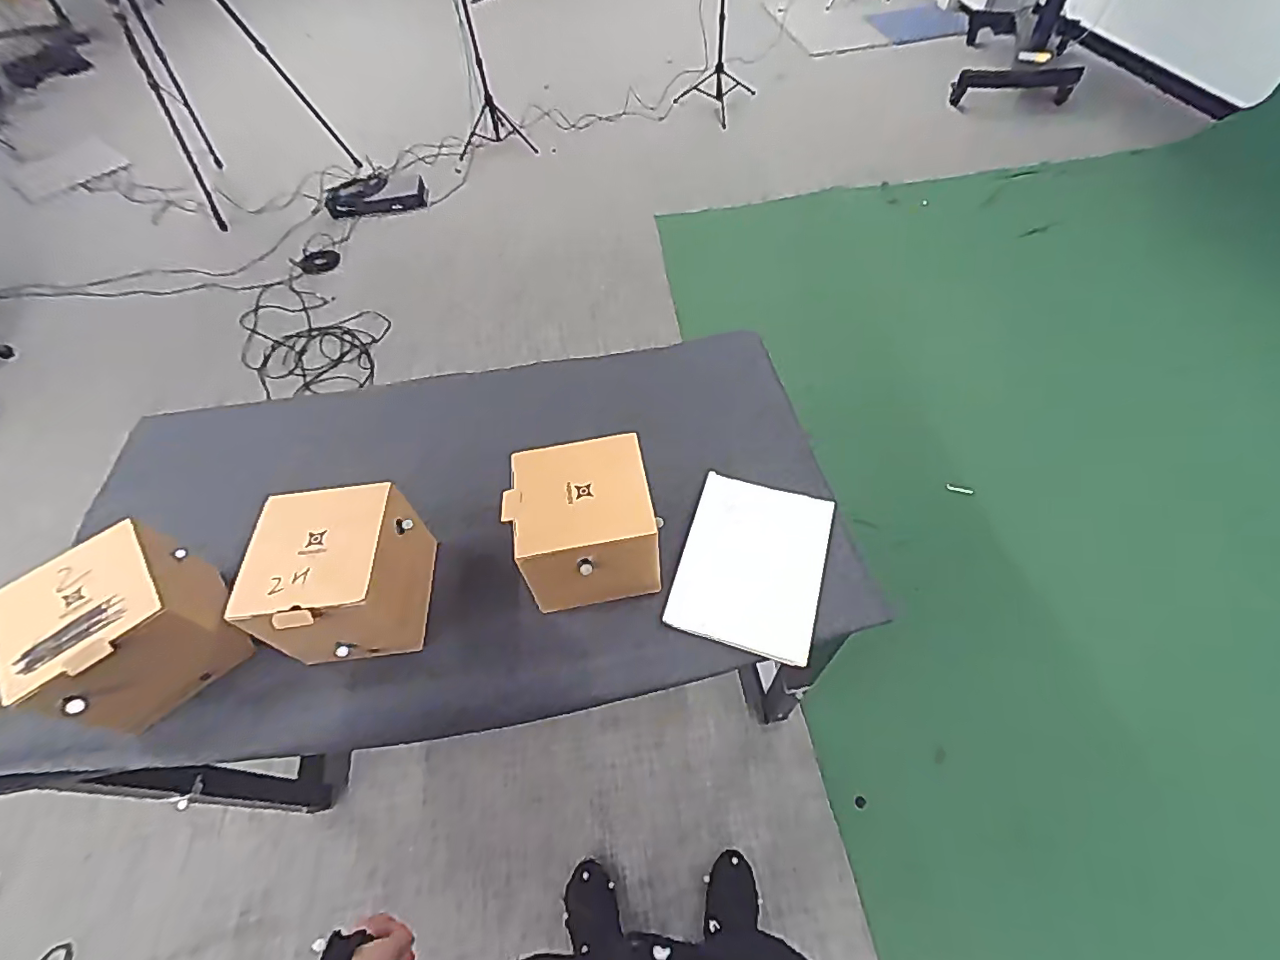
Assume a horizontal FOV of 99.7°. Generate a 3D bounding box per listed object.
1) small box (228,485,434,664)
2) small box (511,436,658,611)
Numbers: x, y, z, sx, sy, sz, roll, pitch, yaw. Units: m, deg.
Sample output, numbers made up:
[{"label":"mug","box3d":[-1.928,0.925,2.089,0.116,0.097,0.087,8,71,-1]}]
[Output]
[{"label":"small box","box3d":[-0.396,0.131,0.735,0.168,0.176,0.179,-7,54,0]},{"label":"small box","box3d":[-0.072,0.065,0.755,0.179,0.176,0.168,-11,54,-2]}]
